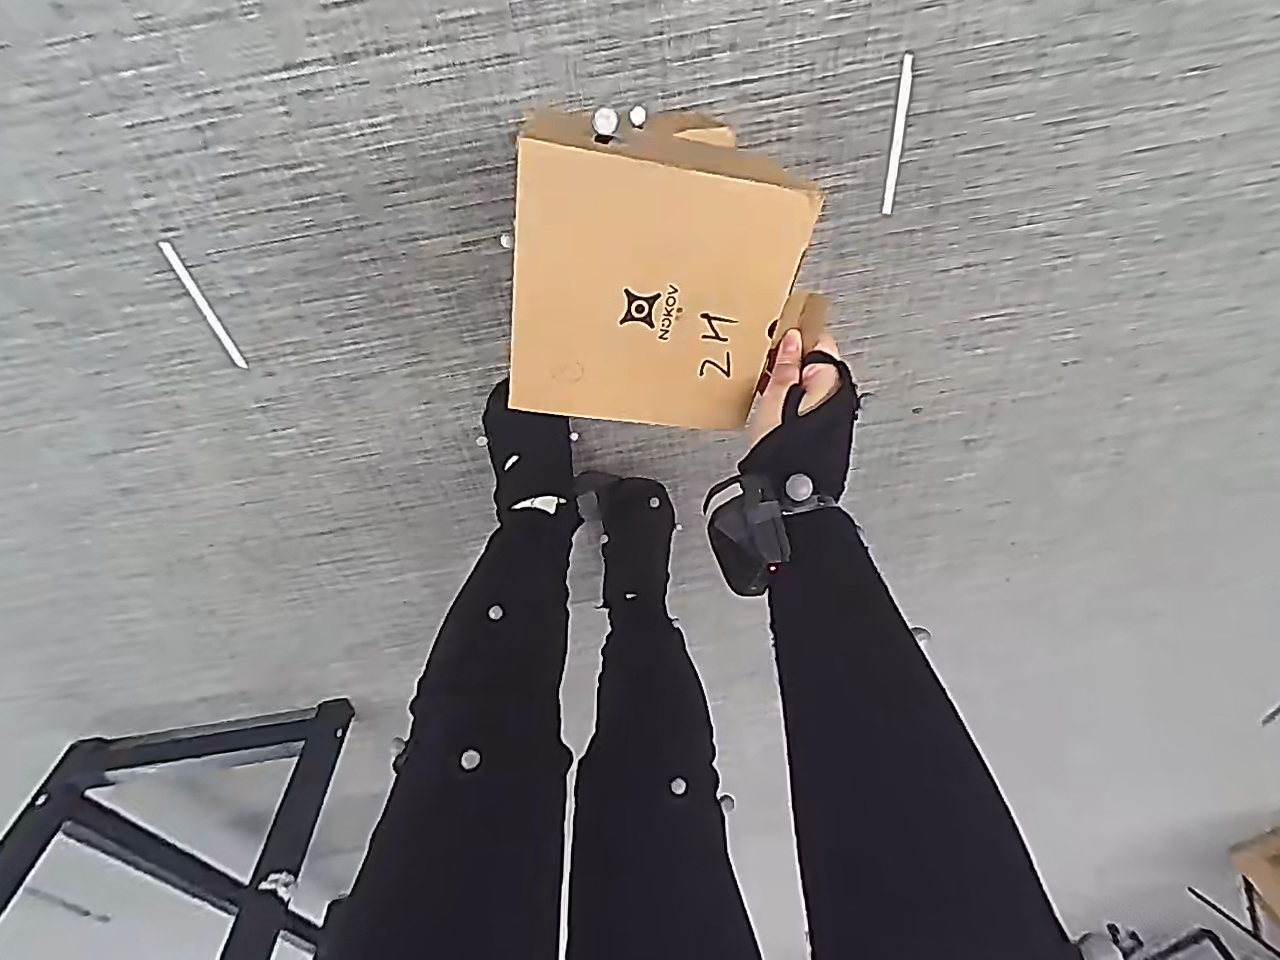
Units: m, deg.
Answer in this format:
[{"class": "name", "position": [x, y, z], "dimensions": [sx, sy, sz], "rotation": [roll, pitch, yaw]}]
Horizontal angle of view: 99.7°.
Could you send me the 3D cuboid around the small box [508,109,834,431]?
[{"class": "small box", "position": [0.004, -0.158, 0.399], "dimensions": [0.179, 0.176, 0.168], "rotation": [5, 128, -11]}]
